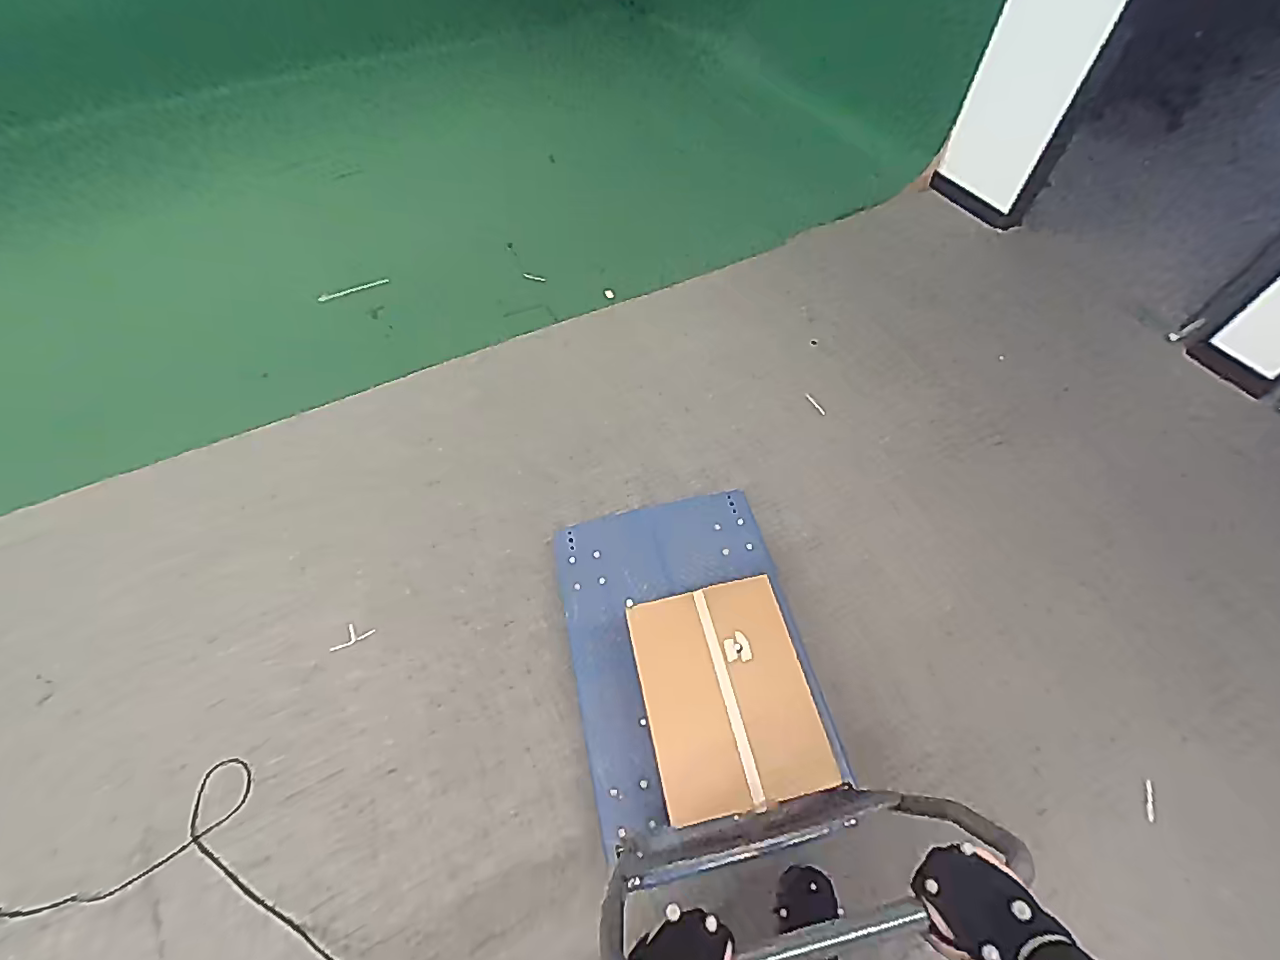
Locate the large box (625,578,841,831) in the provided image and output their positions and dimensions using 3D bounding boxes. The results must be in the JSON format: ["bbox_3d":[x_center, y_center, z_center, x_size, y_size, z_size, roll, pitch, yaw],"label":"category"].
[{"bbox_3d":[0.171,0.485,1.167,0.320,0.320,0.408,-12,58,-5],"label":"large box"}]
